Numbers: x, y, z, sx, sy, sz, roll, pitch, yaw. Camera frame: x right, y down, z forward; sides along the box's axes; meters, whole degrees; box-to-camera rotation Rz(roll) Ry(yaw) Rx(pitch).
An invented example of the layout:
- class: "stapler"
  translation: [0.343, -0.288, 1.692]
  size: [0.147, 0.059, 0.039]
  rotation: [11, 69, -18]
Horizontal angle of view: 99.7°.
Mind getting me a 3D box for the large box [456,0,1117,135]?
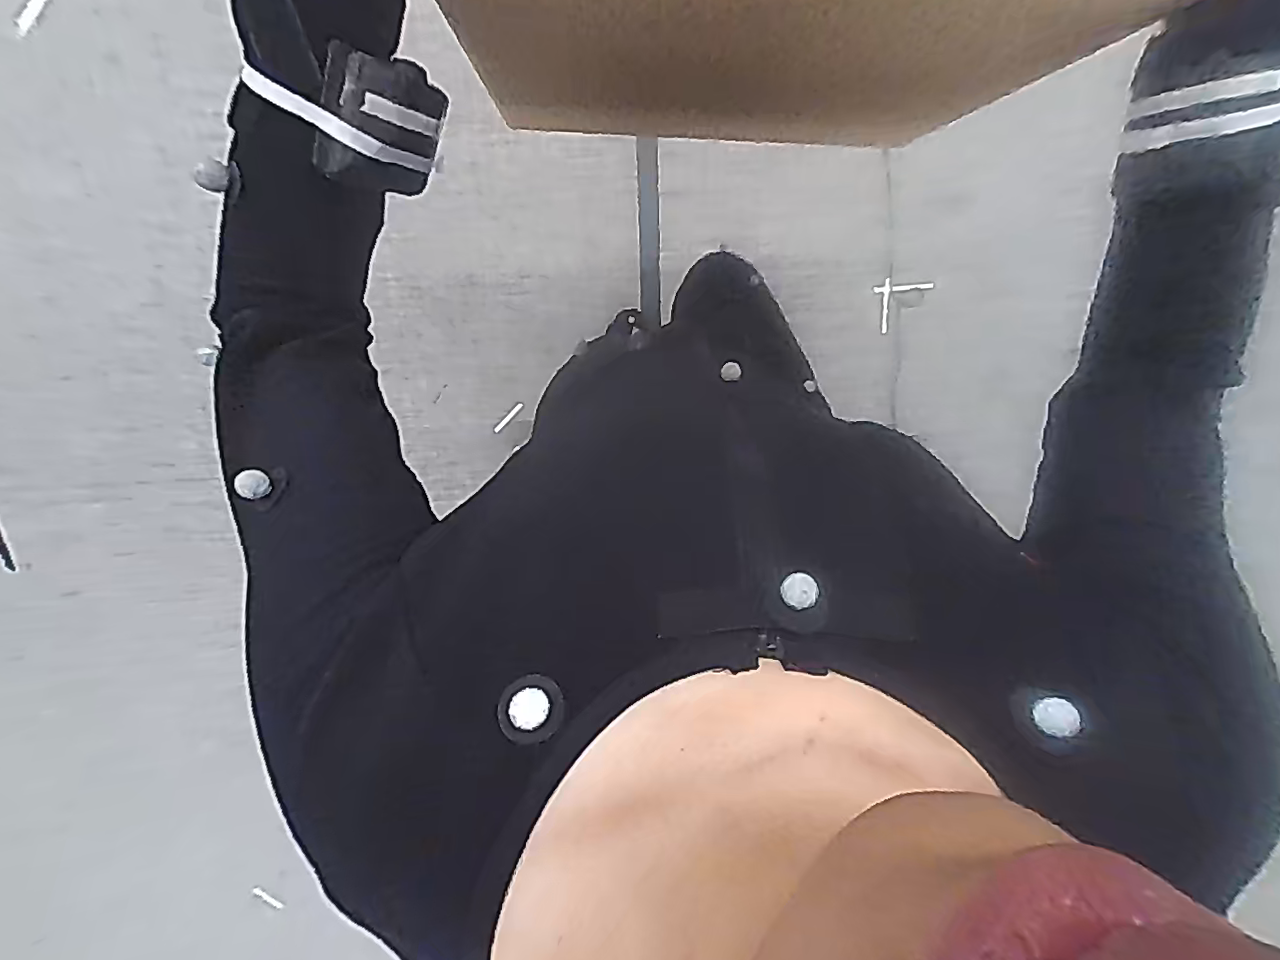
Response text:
- class: "large box"
  translation: [0.080, -0.450, 0.358]
  size: [0.408, 0.320, 0.320]
  rotation: [-1, 109, -4]
